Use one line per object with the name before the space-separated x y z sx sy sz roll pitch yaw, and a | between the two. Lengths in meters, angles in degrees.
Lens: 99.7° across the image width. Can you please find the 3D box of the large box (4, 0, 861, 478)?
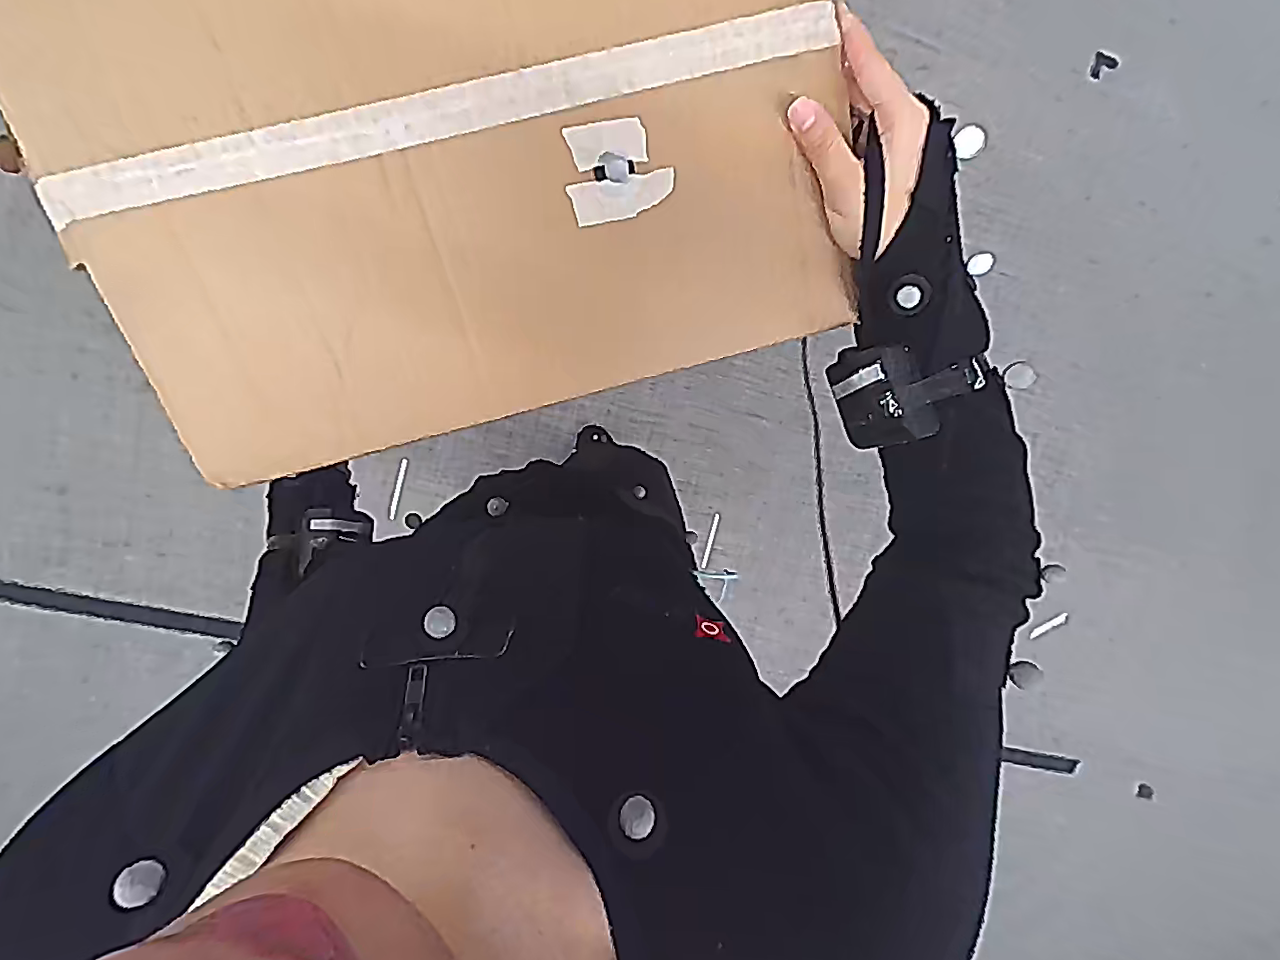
large box | -0.106 -0.234 0.430 0.408 0.320 0.320 -16 109 -5
